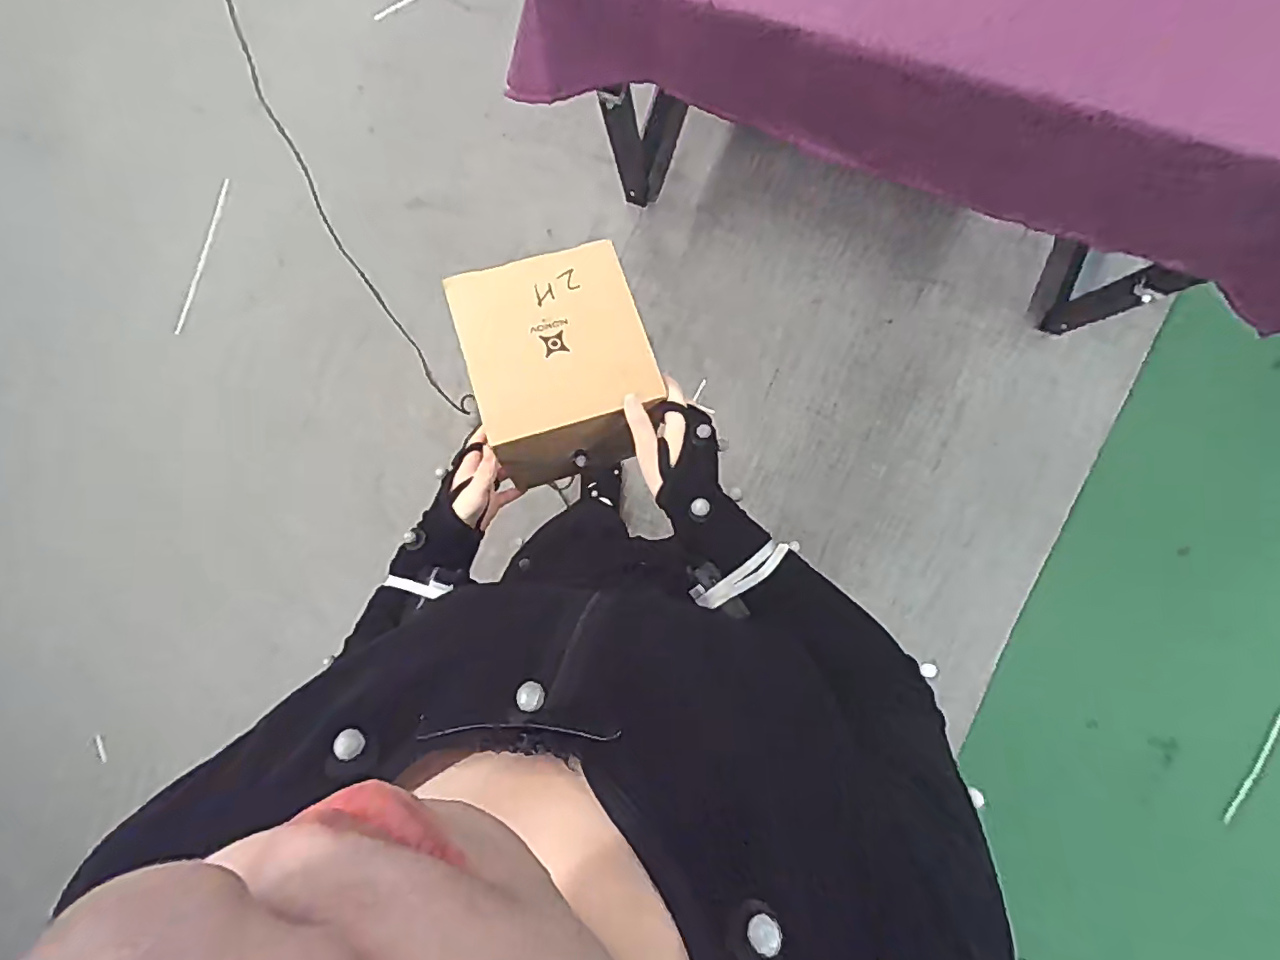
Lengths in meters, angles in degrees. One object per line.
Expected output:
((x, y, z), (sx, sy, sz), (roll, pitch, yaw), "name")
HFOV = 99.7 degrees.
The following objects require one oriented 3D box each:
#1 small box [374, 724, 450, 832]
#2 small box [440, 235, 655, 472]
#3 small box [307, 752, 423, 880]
((-0.658, 0.821, 1.511), (0.168, 0.176, 0.179), (26, 94, 5), "small box")
((-0.091, -0.118, 0.576), (0.168, 0.176, 0.179), (-16, 77, -8), "small box")
((-0.673, 0.823, 1.346), (0.168, 0.176, 0.179), (27, 95, 5), "small box")
